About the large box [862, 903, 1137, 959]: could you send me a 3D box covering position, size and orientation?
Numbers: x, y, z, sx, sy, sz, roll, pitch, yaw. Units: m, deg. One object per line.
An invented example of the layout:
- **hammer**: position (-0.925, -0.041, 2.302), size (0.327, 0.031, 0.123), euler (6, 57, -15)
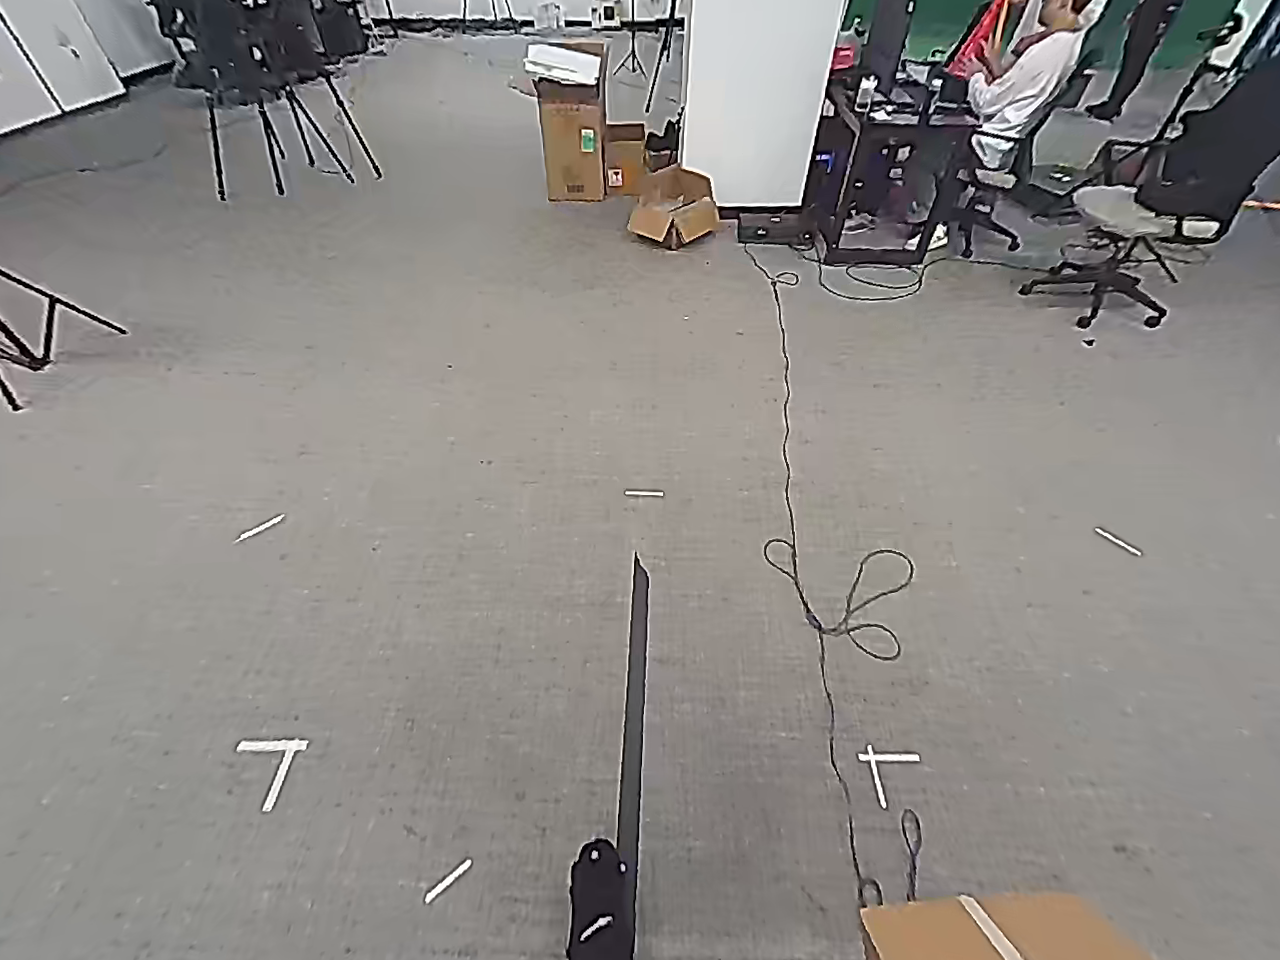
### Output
- **large box**: position (0.477, 0.751, 0.575), size (0.320, 0.408, 0.320), euler (-7, 84, 3)
